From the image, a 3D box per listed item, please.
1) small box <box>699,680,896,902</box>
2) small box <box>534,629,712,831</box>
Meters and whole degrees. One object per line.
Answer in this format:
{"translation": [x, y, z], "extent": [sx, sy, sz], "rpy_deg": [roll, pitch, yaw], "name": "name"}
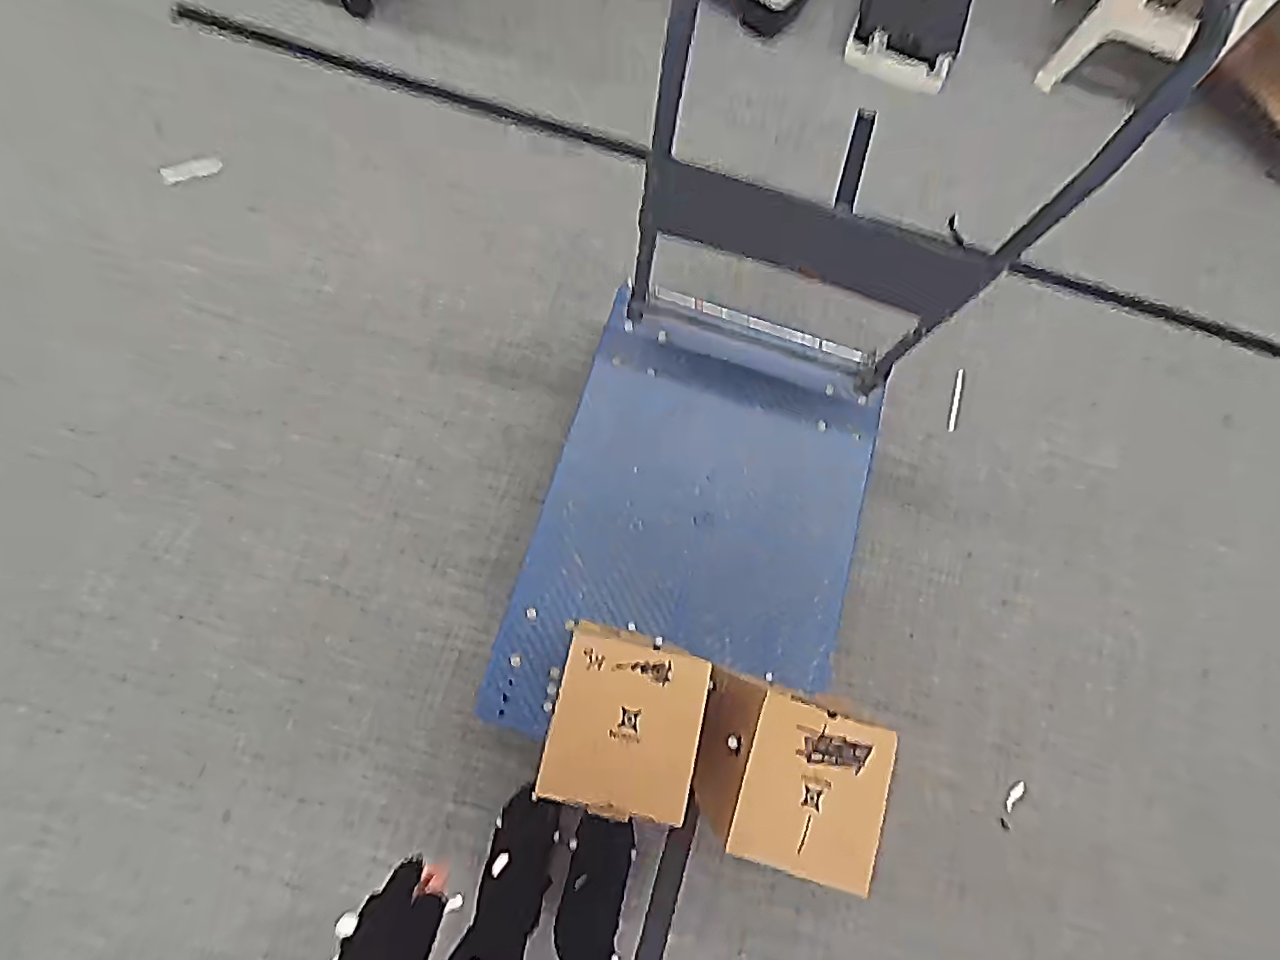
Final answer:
{"translation": [0.186, 0.370, 0.683], "extent": [0.168, 0.176, 0.179], "rpy_deg": [21, 76, -1], "name": "small box"}
{"translation": [-0.022, 0.297, 0.681], "extent": [0.168, 0.176, 0.179], "rpy_deg": [15, 77, -2], "name": "small box"}
